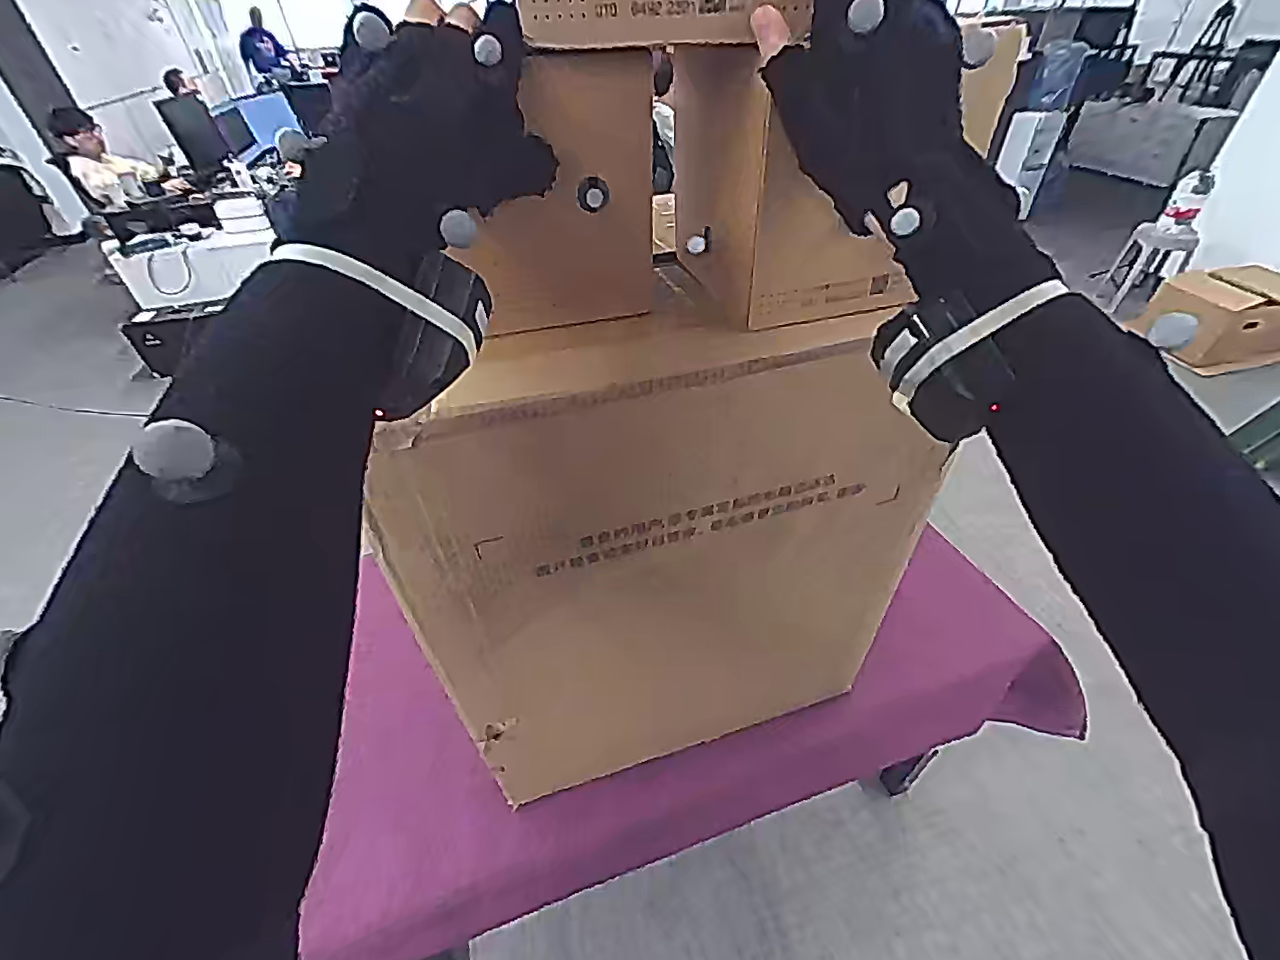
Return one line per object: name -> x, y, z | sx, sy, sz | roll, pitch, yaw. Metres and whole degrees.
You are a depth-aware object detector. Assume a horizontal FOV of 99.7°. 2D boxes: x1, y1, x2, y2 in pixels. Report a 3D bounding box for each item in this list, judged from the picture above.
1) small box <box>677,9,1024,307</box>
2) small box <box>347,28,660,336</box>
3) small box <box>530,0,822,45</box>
small box -> 0.132, -0.245, 0.418 | 0.168, 0.176, 0.179 | -12, 42, -9
small box -> -0.093, -0.229, 0.410 | 0.179, 0.176, 0.168 | -13, 42, -12
small box -> 0.014, -0.360, 0.308 | 0.168, 0.176, 0.179 | -4, 42, -2
